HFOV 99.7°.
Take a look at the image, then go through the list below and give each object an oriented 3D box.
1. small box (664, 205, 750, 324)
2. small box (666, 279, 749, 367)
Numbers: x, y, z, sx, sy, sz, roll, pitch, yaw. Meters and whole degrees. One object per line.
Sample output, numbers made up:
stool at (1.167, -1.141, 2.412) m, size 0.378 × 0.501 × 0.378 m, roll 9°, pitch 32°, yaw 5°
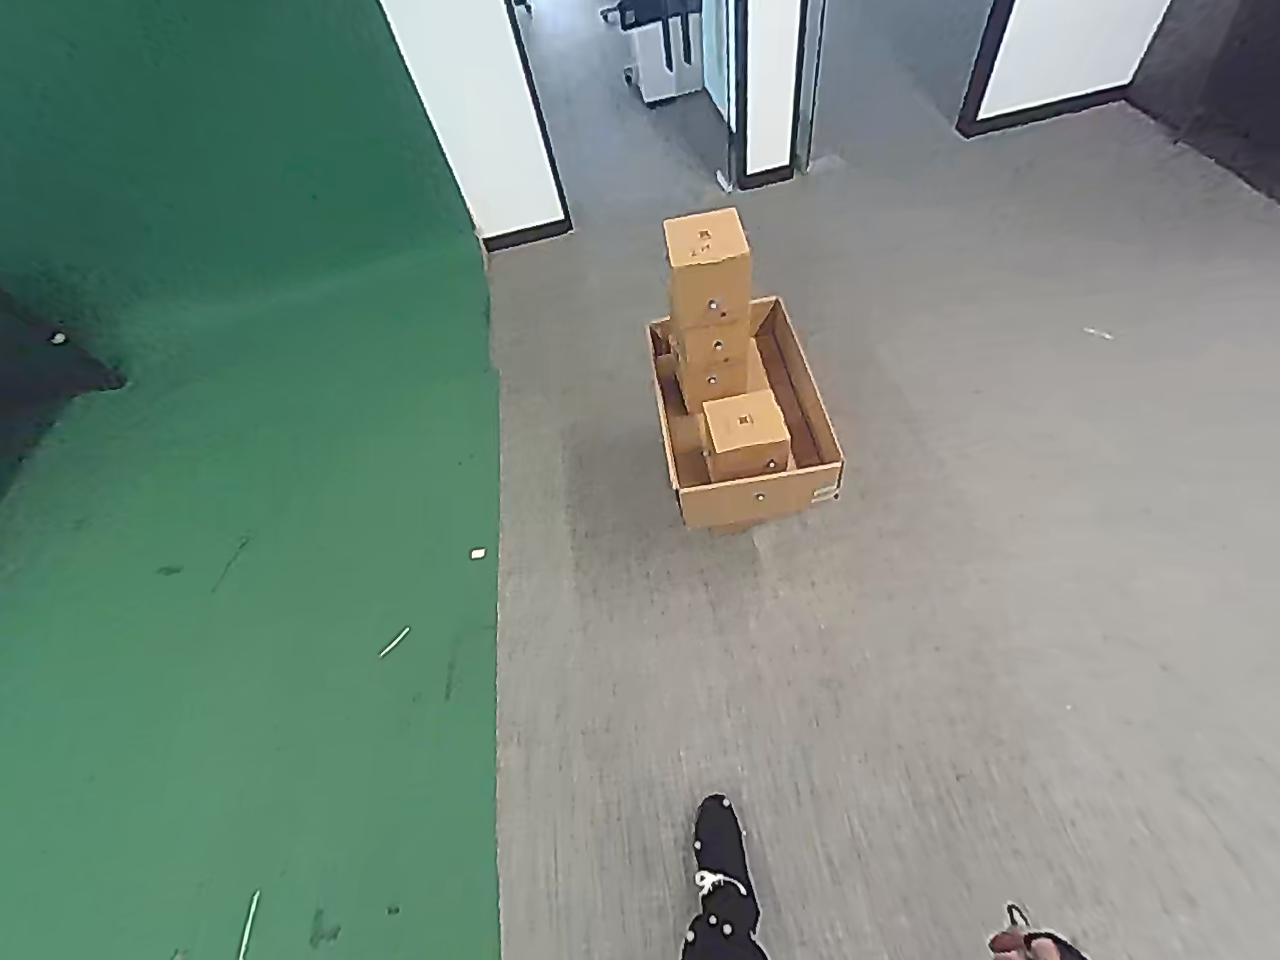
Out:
small box at (0.150, -0.482, 1.218) m, size 0.168 × 0.176 × 0.179 m, roll -9°, pitch 57°, yaw 6°
small box at (0.173, -0.407, 1.365) m, size 0.168 × 0.176 × 0.179 m, roll -15°, pitch 57°, yaw 1°
